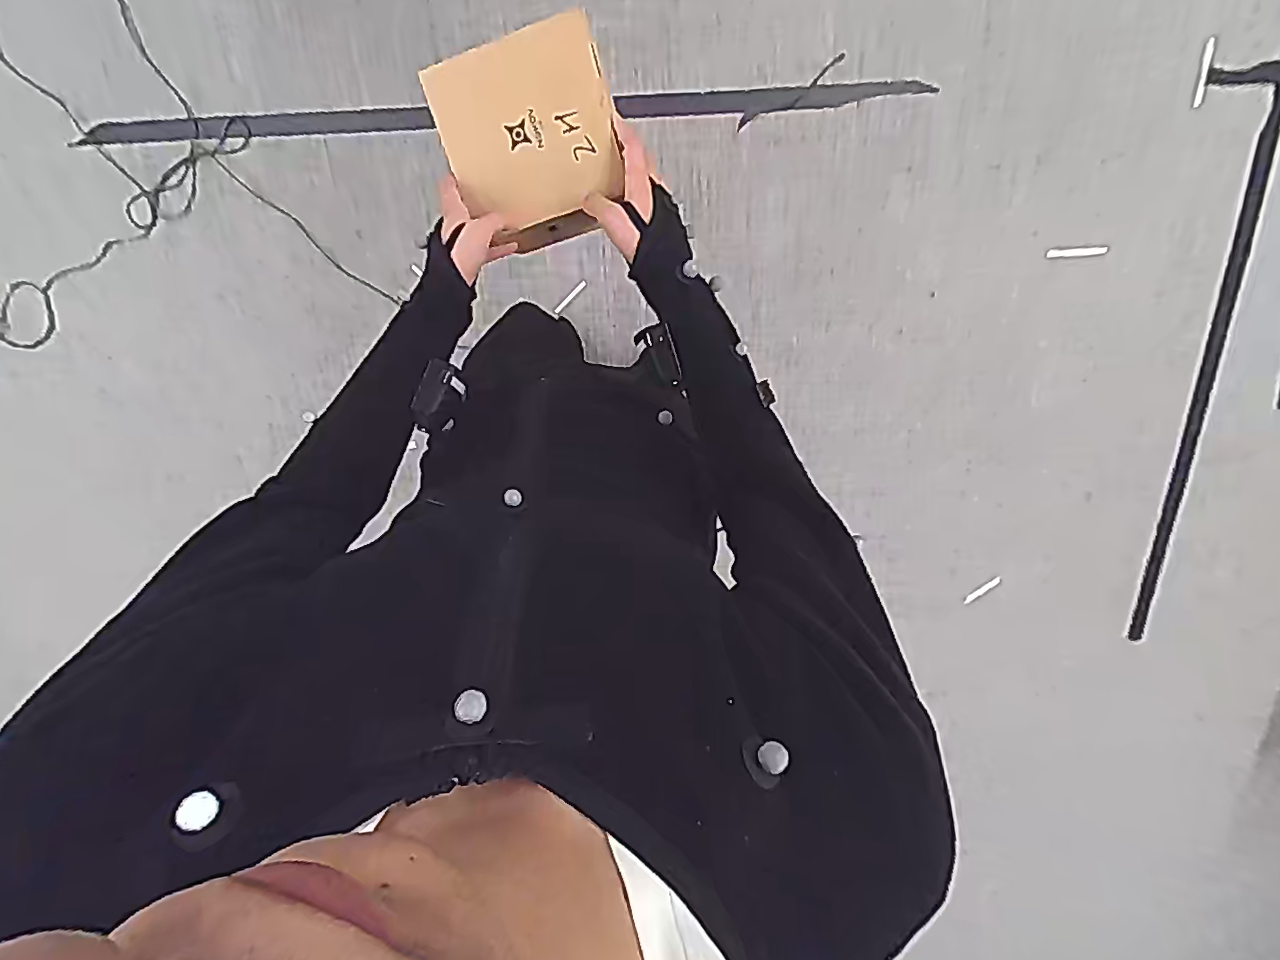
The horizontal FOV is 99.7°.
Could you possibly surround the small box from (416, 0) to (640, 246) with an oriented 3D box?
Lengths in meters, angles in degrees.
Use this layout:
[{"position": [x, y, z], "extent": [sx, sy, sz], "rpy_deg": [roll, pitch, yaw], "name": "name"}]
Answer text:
[{"position": [-0.107, -0.374, 0.607], "extent": [0.179, 0.176, 0.168], "rpy_deg": [-15, 108, 9], "name": "small box"}]
